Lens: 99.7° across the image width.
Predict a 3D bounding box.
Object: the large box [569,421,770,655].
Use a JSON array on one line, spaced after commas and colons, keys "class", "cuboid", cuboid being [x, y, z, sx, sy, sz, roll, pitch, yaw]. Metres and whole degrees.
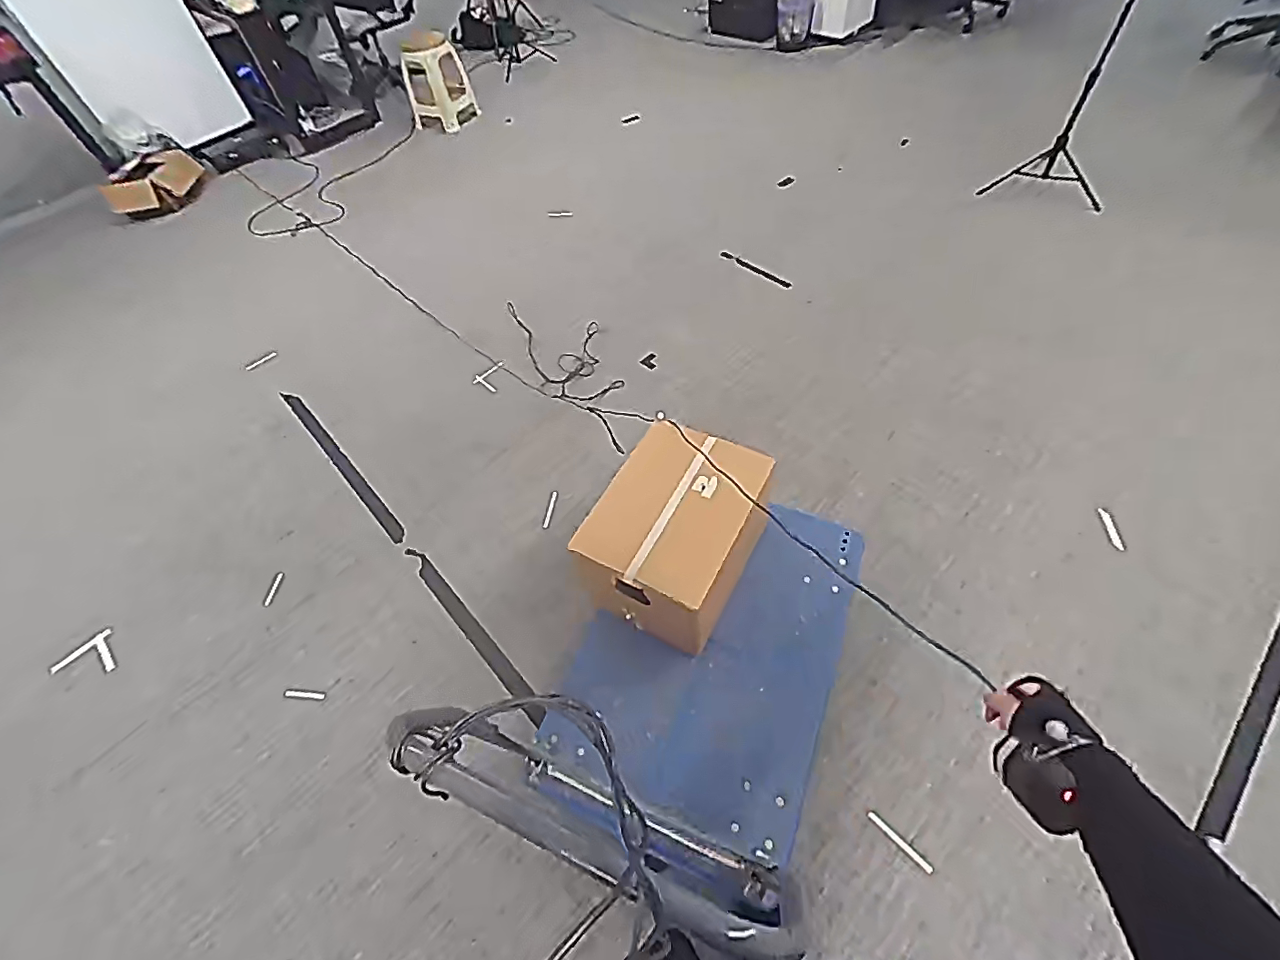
[{"class": "large box", "cuboid": [0.086, 0.137, 1.300, 0.320, 0.320, 0.408, 22, 60, 20]}]
